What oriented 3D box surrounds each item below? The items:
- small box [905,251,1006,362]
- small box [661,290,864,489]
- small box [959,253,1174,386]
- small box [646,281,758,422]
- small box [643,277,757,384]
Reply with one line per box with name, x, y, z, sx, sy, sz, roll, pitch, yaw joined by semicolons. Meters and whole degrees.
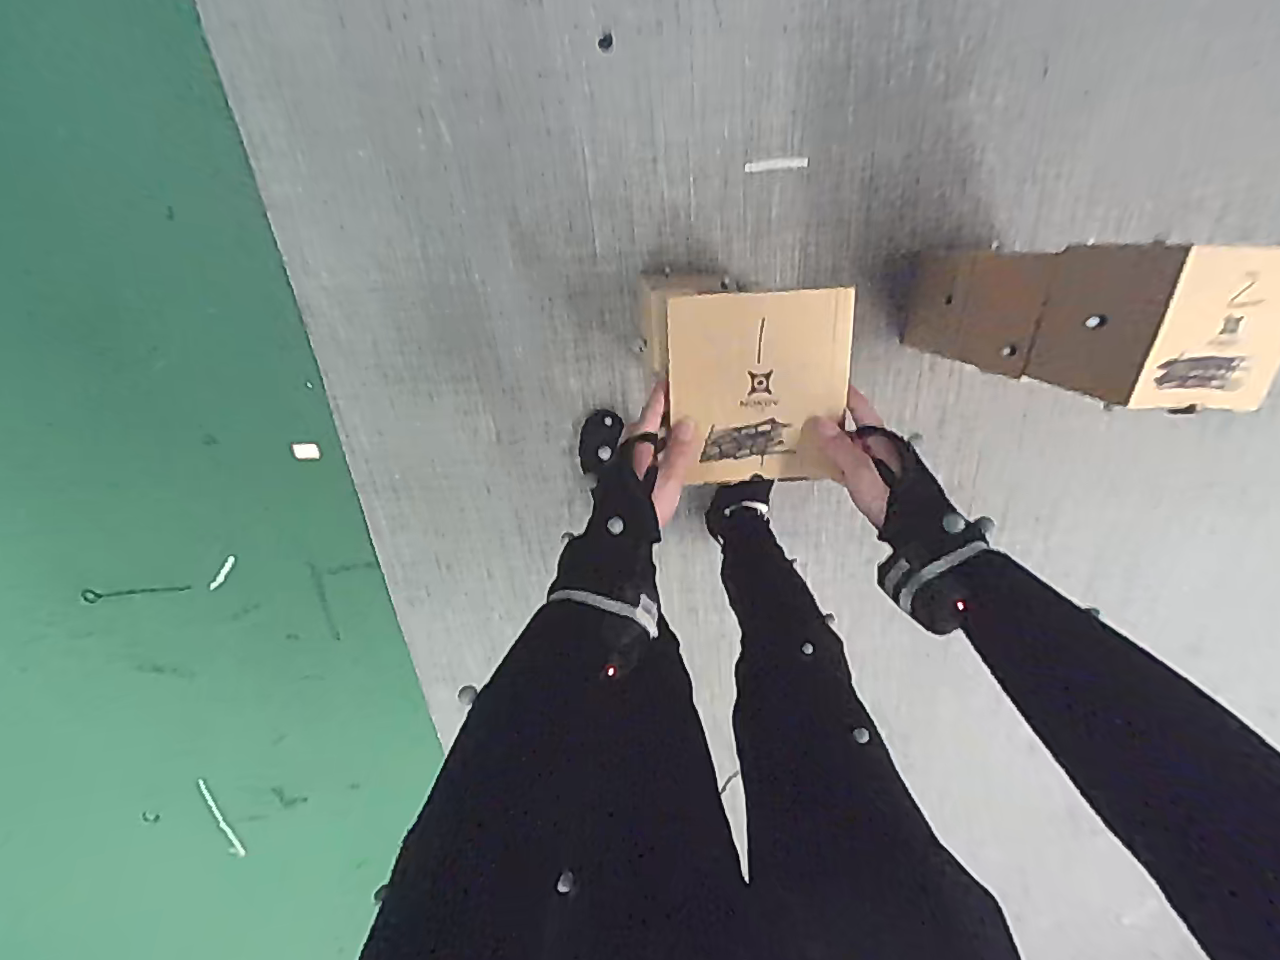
small box;0.604;-0.306;0.962;0.168;0.176;0.179;5;114;-3
small box;0.110;-0.101;0.558;0.168;0.176;0.179;-3;108;0
small box;0.619;-0.246;0.815;0.168;0.176;0.179;-1;114;-4
small box;0.098;-0.197;0.807;0.168;0.176;0.179;-2;115;-3
small box;0.095;-0.266;0.956;0.179;0.176;0.168;-1;114;-3
